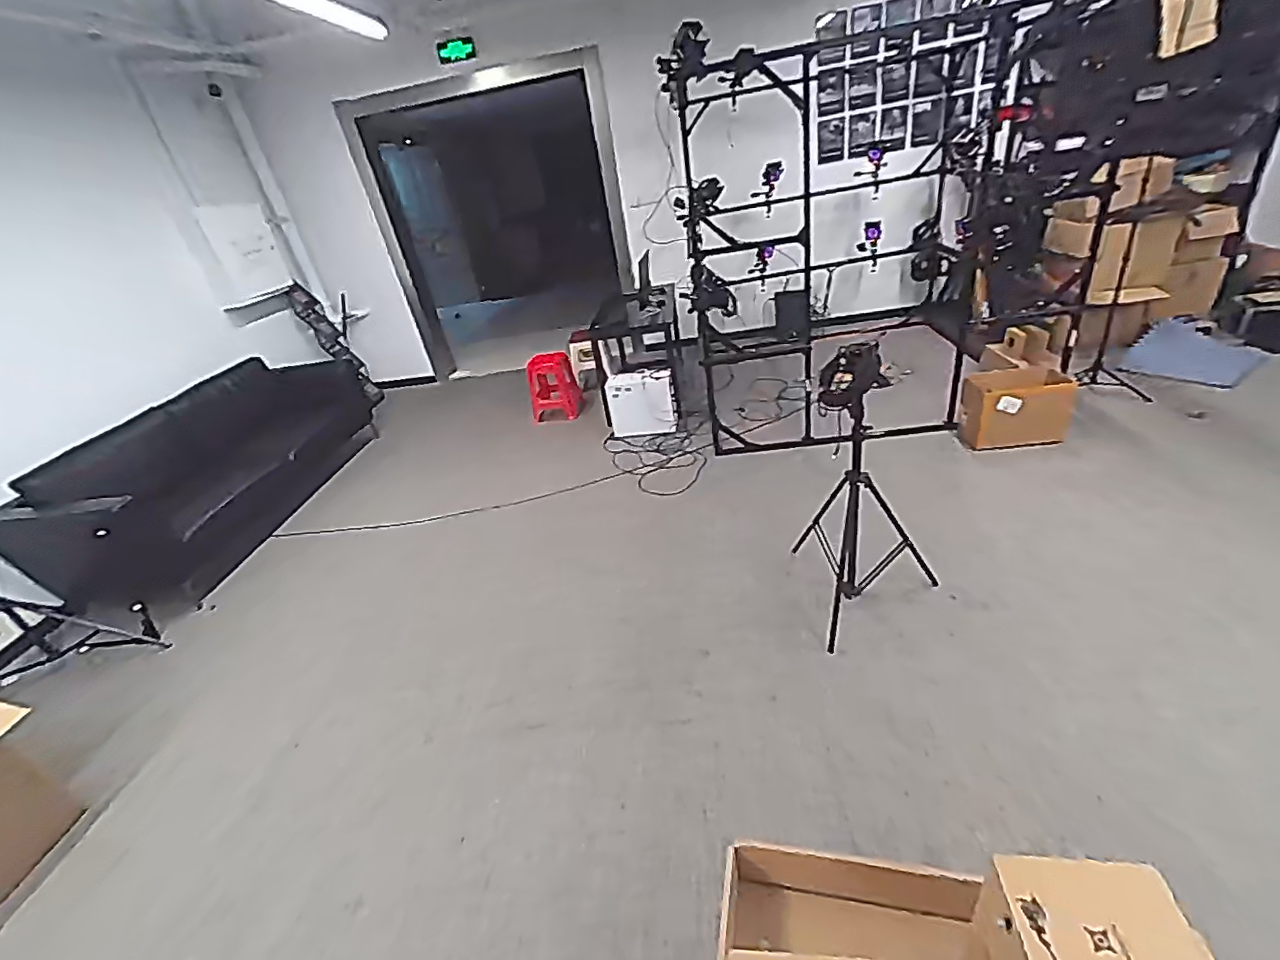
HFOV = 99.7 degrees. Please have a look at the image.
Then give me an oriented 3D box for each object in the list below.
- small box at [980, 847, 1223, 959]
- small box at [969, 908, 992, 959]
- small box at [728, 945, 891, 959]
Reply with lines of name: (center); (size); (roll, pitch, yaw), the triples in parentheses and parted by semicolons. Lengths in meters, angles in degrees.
small box: (0.513, 0.550, 0.604); (0.179, 0.176, 0.168); (-3, 30, 13)
small box: (0.538, 0.692, 0.683); (0.168, 0.176, 0.179); (-3, 30, 15)
small box: (0.182, 0.625, 0.573); (0.179, 0.176, 0.168); (1, 39, 4)
